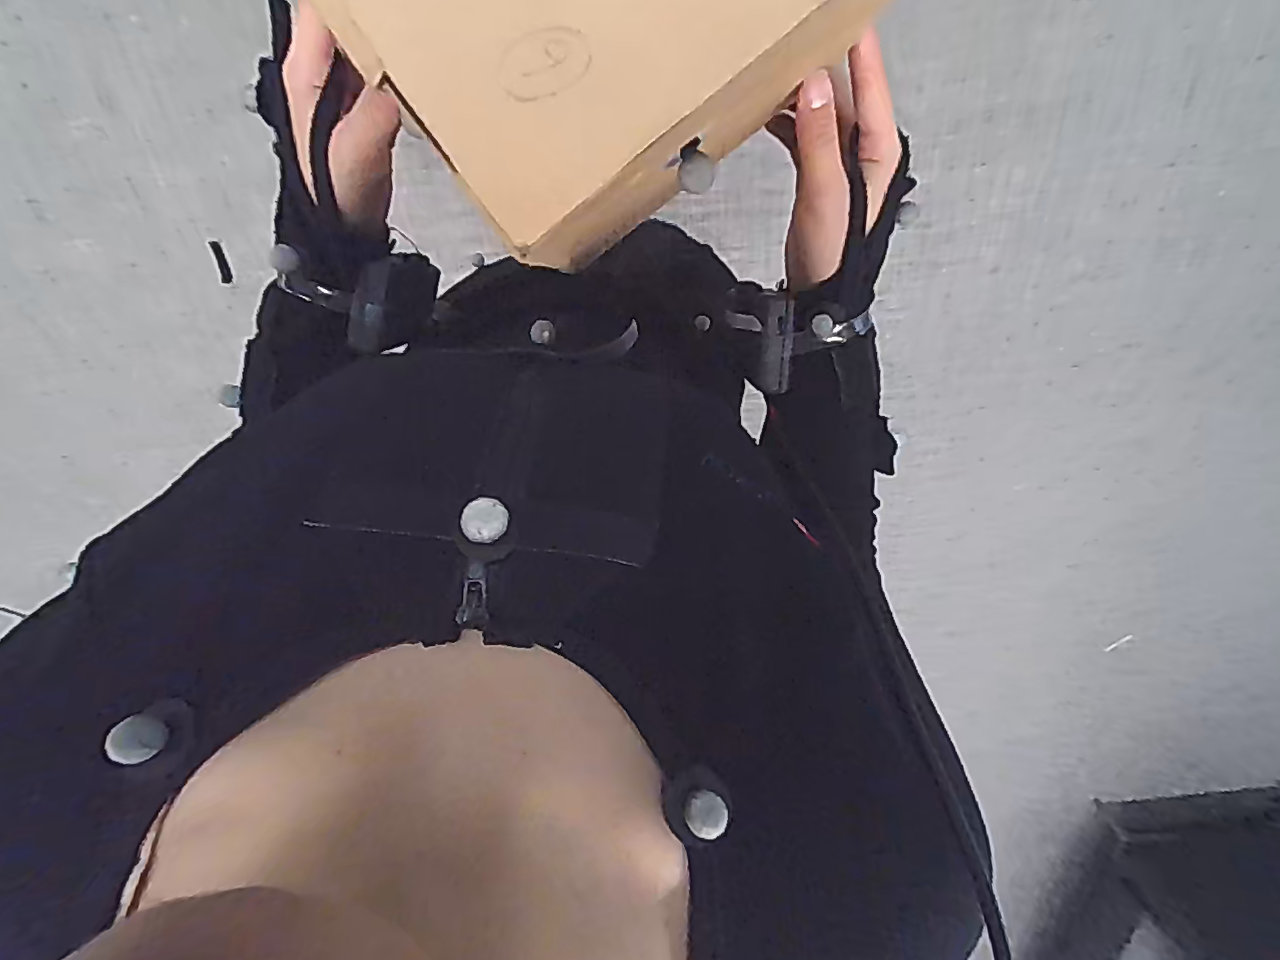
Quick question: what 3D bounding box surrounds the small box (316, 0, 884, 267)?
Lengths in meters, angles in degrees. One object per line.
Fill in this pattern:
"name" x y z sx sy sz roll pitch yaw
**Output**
"small box" -0.016 -0.203 0.209 0.179 0.176 0.168 -34 106 11
